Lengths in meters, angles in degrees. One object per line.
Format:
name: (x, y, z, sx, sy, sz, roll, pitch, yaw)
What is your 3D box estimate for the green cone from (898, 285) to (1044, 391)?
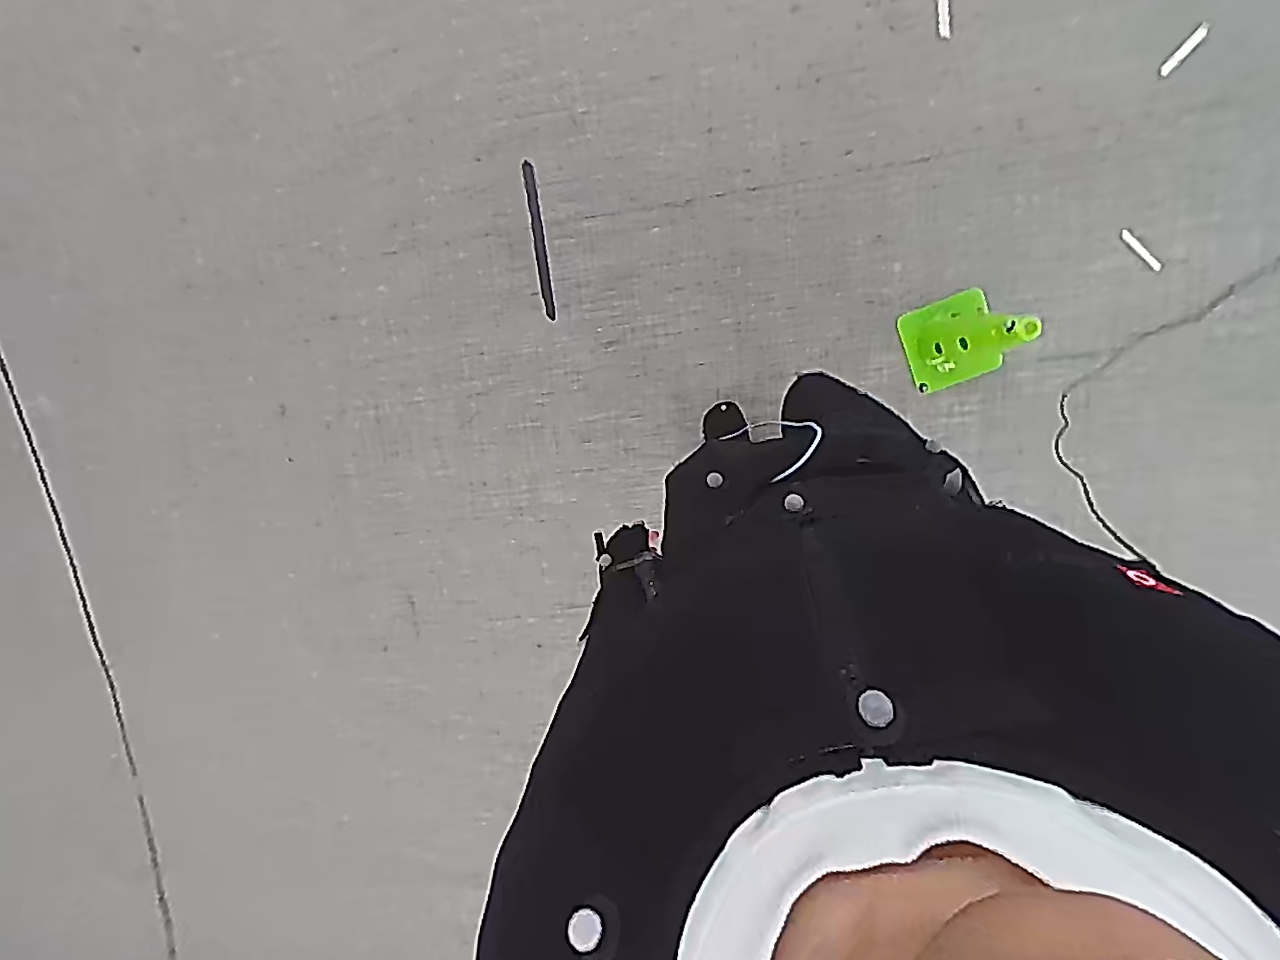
green cone: (0.717, -0.309, 1.120, 0.200, 0.368, 0.202, -21, 95, 11)
